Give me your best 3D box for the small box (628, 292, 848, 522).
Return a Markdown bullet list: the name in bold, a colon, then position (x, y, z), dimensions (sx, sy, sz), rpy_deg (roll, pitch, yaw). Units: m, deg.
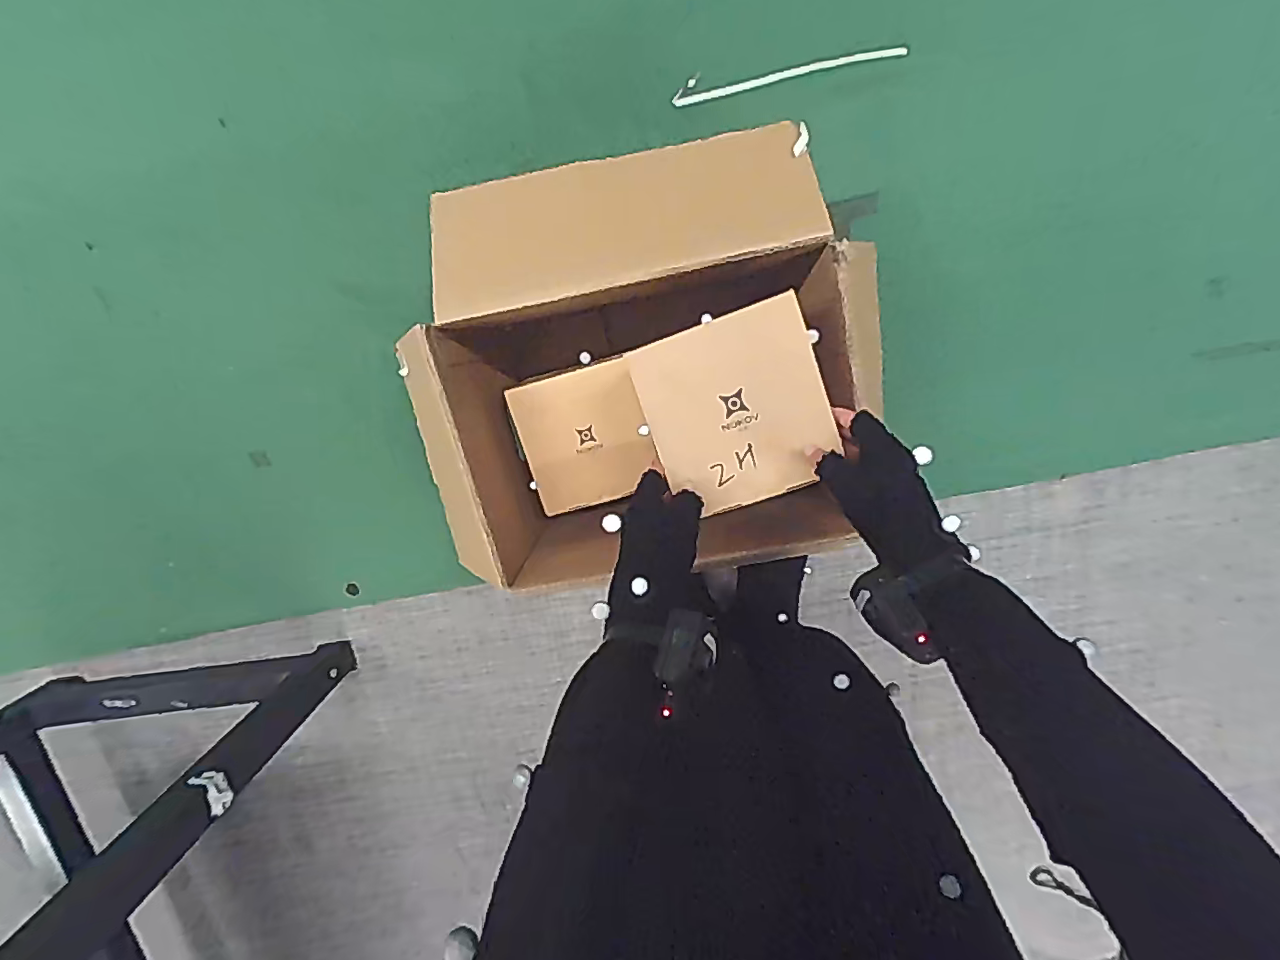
- **small box**: position (0.098, -0.075, 0.580), dimensions (0.168, 0.176, 0.179), rpy_deg (-19, 97, 9)
